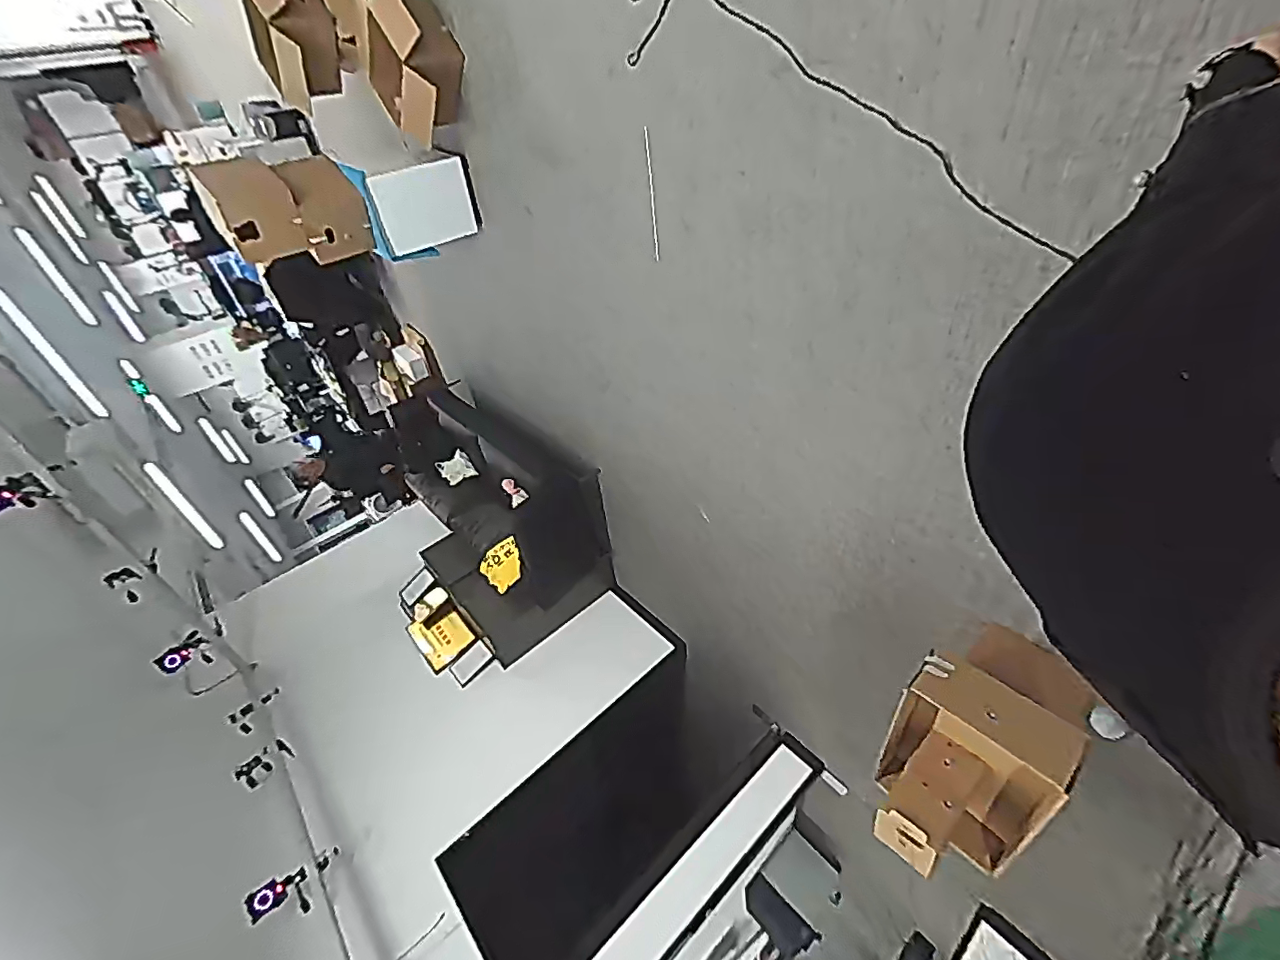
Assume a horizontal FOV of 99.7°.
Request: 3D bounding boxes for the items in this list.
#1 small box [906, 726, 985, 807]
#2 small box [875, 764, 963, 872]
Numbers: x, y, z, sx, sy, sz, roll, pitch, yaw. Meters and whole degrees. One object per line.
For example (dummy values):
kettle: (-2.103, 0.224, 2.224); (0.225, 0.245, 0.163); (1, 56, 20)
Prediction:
small box: (0.931, 0.904, 1.665); (0.168, 0.176, 0.179); (29, 138, 42)
small box: (0.813, 0.976, 1.576); (0.168, 0.176, 0.179); (28, 139, 43)
